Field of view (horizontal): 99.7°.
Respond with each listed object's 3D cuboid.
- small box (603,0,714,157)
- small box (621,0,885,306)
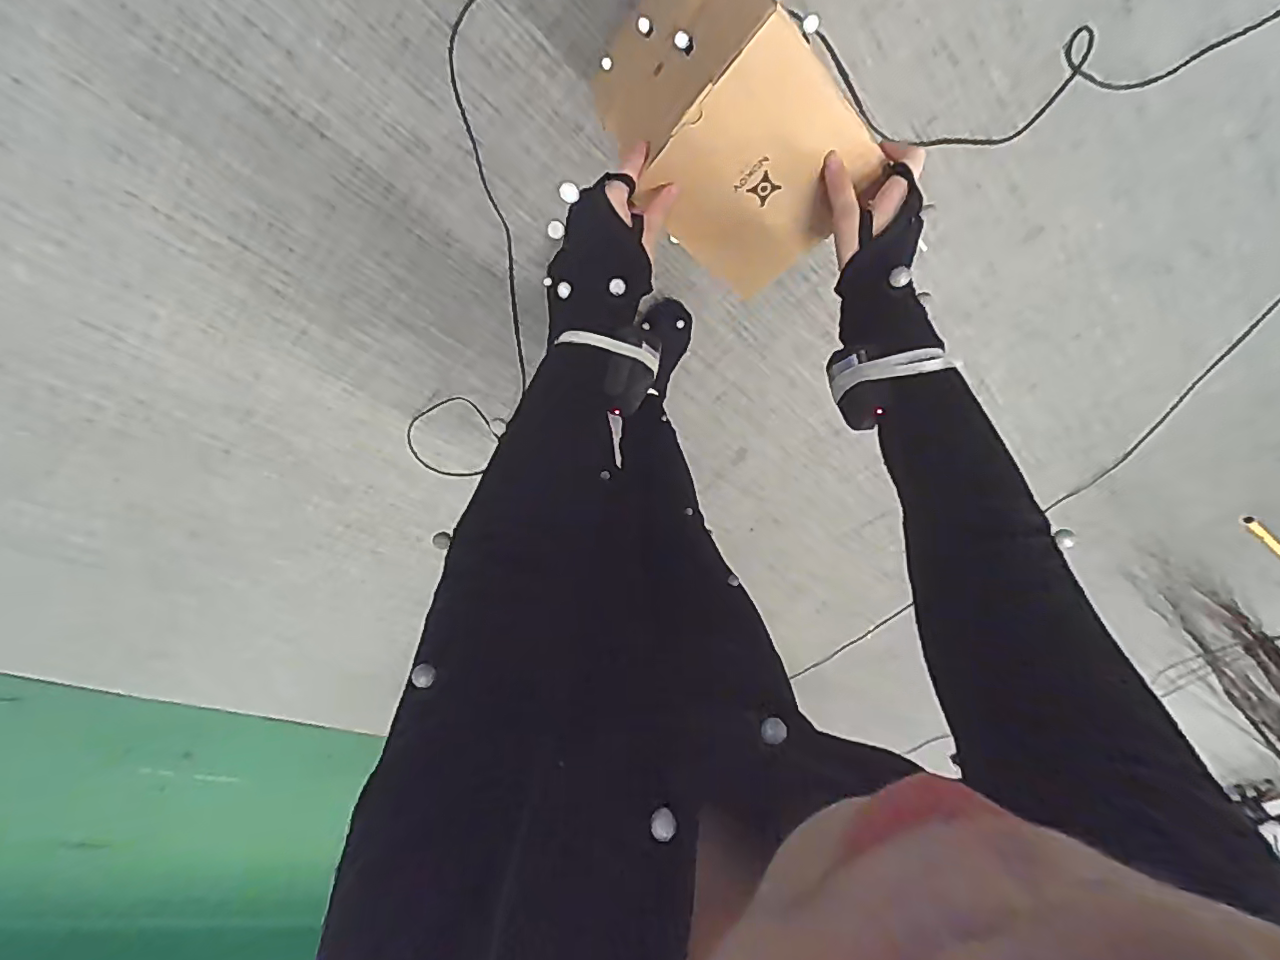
[{"bbox_3d":[0.069,-0.444,0.641,0.168,0.176,0.179,27,124,-30],"label":"small box"},{"bbox_3d":[0.099,-0.316,0.525,0.179,0.176,0.168,27,133,-30],"label":"small box"}]
